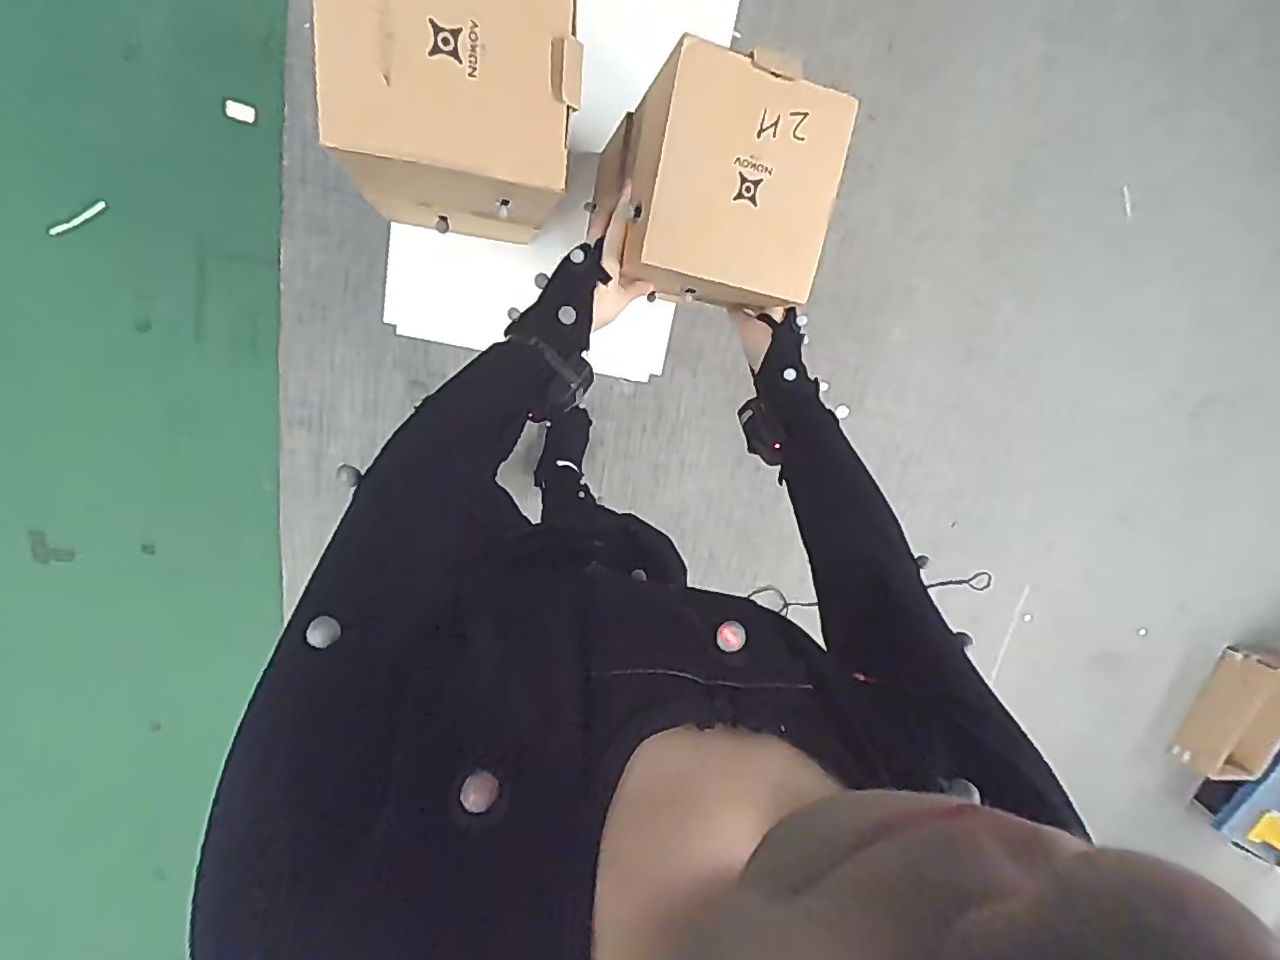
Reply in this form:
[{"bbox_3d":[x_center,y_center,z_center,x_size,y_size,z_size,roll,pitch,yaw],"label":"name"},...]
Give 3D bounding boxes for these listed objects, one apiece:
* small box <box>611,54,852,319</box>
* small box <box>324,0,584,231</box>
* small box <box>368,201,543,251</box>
[{"bbox_3d":[0.074,-0.268,0.546,0.168,0.176,0.179,8,103,-17],"label":"small box"},{"bbox_3d":[-0.155,-0.323,0.466,0.179,0.176,0.168,1,105,-17],"label":"small box"},{"bbox_3d":[-0.201,-0.367,0.617,0.179,0.176,0.168,3,106,-19],"label":"small box"}]
